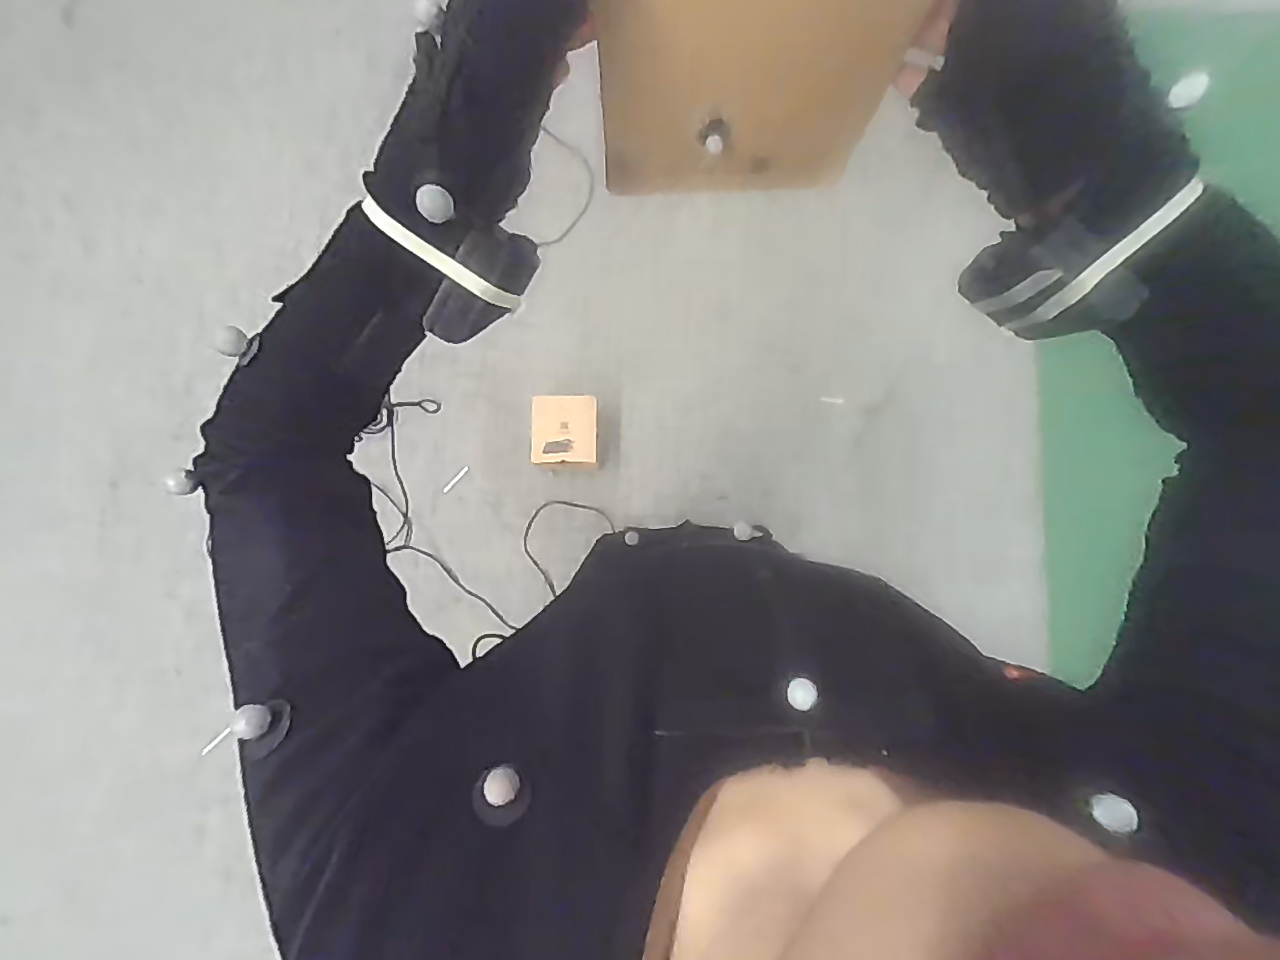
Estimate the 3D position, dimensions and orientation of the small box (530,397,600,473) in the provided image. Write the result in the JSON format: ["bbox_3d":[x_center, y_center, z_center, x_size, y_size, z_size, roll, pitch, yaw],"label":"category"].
[{"bbox_3d":[-0.194,-0.114,1.437,0.168,0.176,0.179,0,83,-1],"label":"small box"}]
